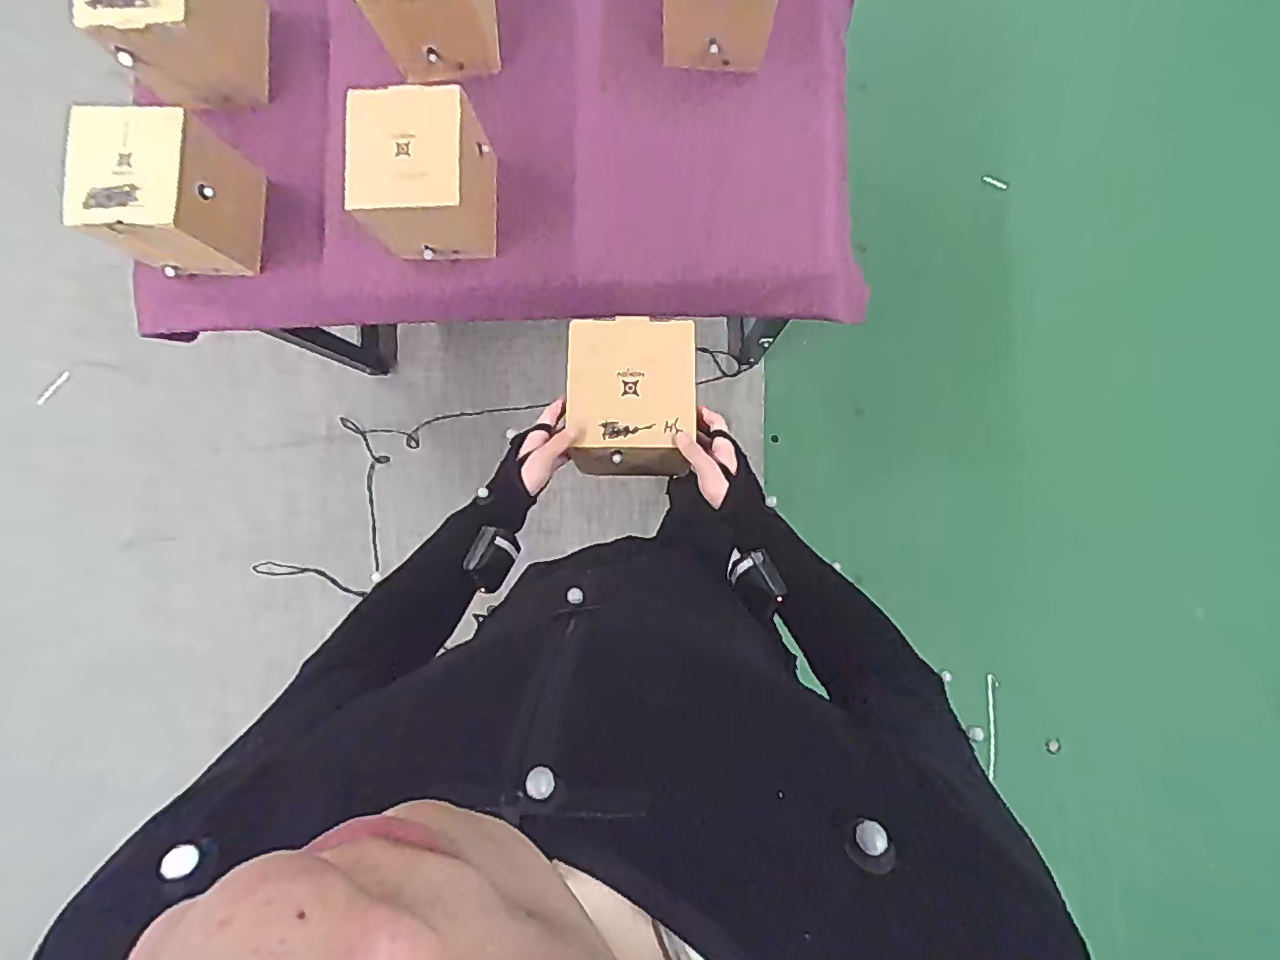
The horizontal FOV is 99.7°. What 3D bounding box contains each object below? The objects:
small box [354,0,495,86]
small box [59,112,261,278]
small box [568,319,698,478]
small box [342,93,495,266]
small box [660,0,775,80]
[{"bbox_3d":[-0.333,-0.764,0.843,0.168,0.176,0.179,-6,90,1],"label":"small box"},{"bbox_3d":[-0.730,-0.429,0.841,0.168,0.176,0.179,2,87,1],"label":"small box"},{"bbox_3d":[-0.008,-0.108,0.768,0.168,0.176,0.179,0,78,1],"label":"small box"},{"bbox_3d":[-0.330,-0.452,0.834,0.168,0.176,0.179,0,88,2],"label":"small box"},{"bbox_3d":[0.119,-0.766,0.828,0.168,0.176,0.179,5,90,3],"label":"small box"}]
